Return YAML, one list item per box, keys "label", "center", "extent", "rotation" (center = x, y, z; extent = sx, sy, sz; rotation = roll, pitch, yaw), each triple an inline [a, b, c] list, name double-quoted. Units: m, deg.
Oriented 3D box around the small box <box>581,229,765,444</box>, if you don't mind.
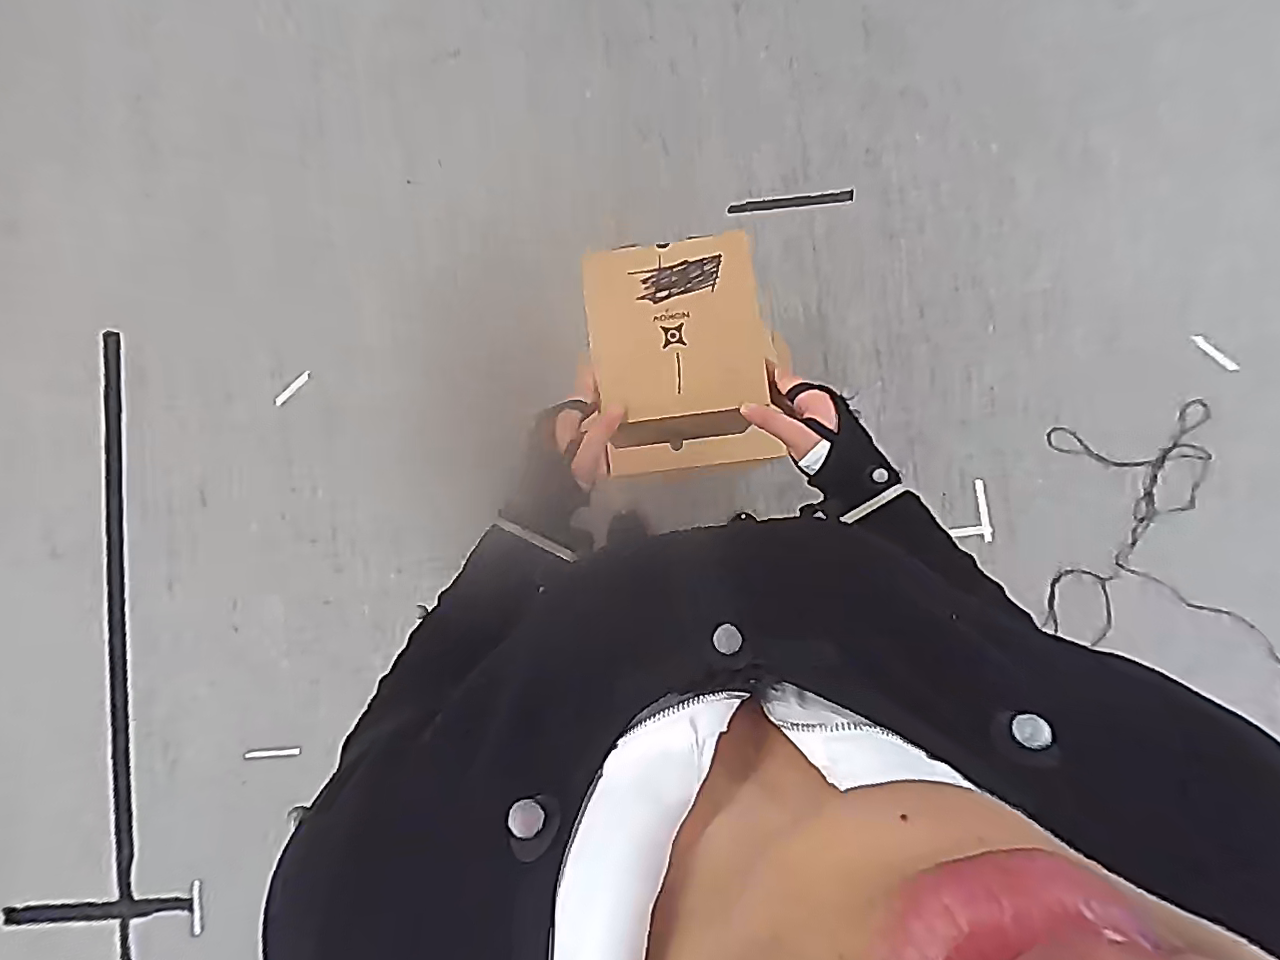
- label: "small box"
  center: [0.032, -0.144, 0.600]
  extent: [0.168, 0.176, 0.179]
  rotation: [-7, 86, 2]
